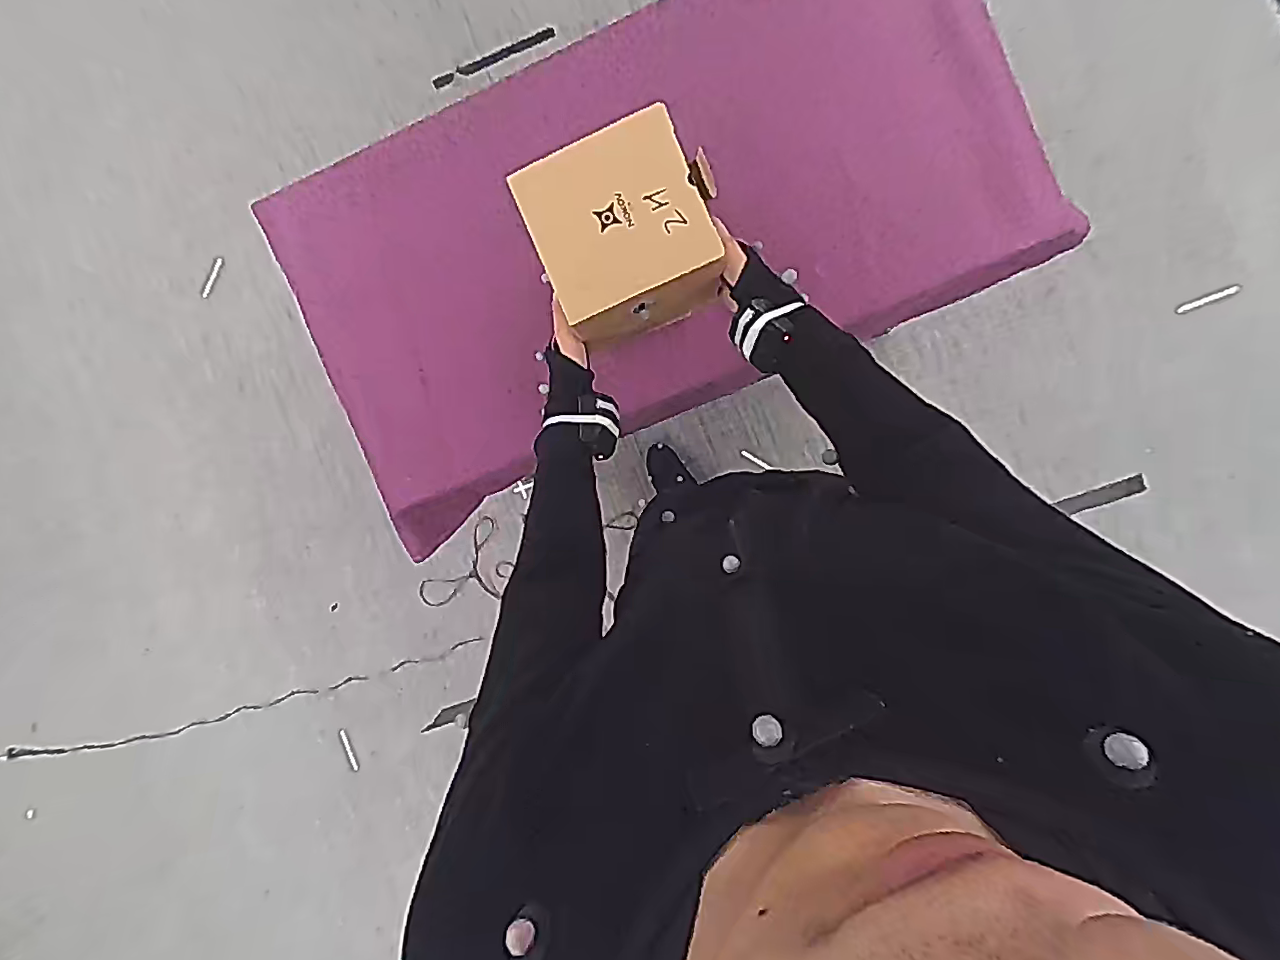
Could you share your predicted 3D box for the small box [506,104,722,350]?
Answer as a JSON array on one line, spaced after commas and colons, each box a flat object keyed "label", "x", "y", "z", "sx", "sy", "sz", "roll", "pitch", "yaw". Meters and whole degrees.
[{"label": "small box", "x": -0.021, "y": -0.267, "z": 0.619, "sx": 0.179, "sy": 0.176, "sz": 0.168, "roll": -24, "pitch": 92, "yaw": 5}]
